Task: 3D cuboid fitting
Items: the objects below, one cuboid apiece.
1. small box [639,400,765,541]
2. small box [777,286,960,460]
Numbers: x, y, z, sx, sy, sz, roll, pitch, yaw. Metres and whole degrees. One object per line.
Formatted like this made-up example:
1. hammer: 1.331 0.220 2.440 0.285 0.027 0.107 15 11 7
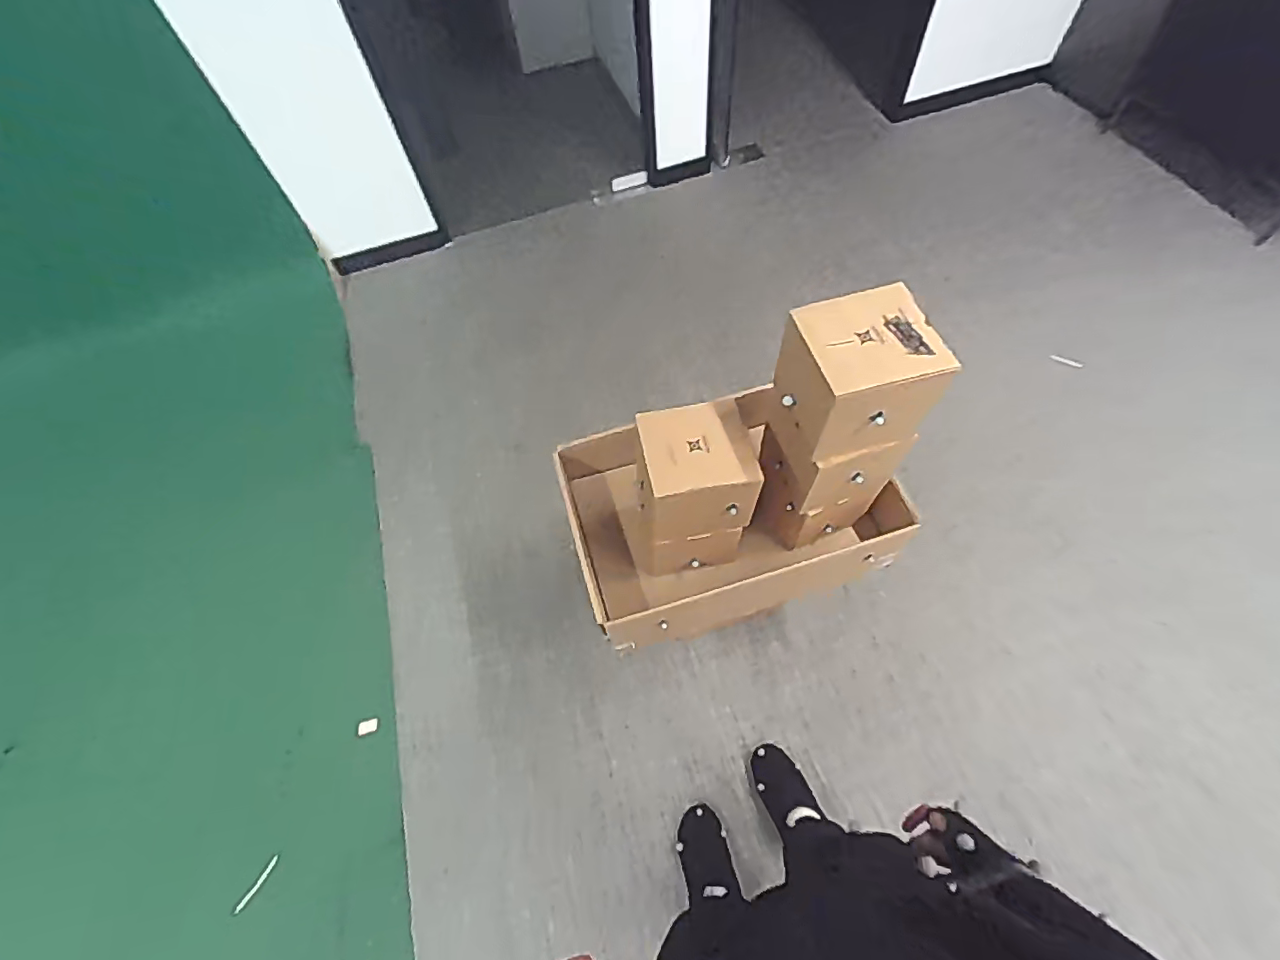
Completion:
1. small box: 0.096 -0.011 0.930 0.179 0.176 0.168 -10 59 -4
2. small box: 0.320 -0.152 0.802 0.179 0.176 0.168 -14 60 -2
